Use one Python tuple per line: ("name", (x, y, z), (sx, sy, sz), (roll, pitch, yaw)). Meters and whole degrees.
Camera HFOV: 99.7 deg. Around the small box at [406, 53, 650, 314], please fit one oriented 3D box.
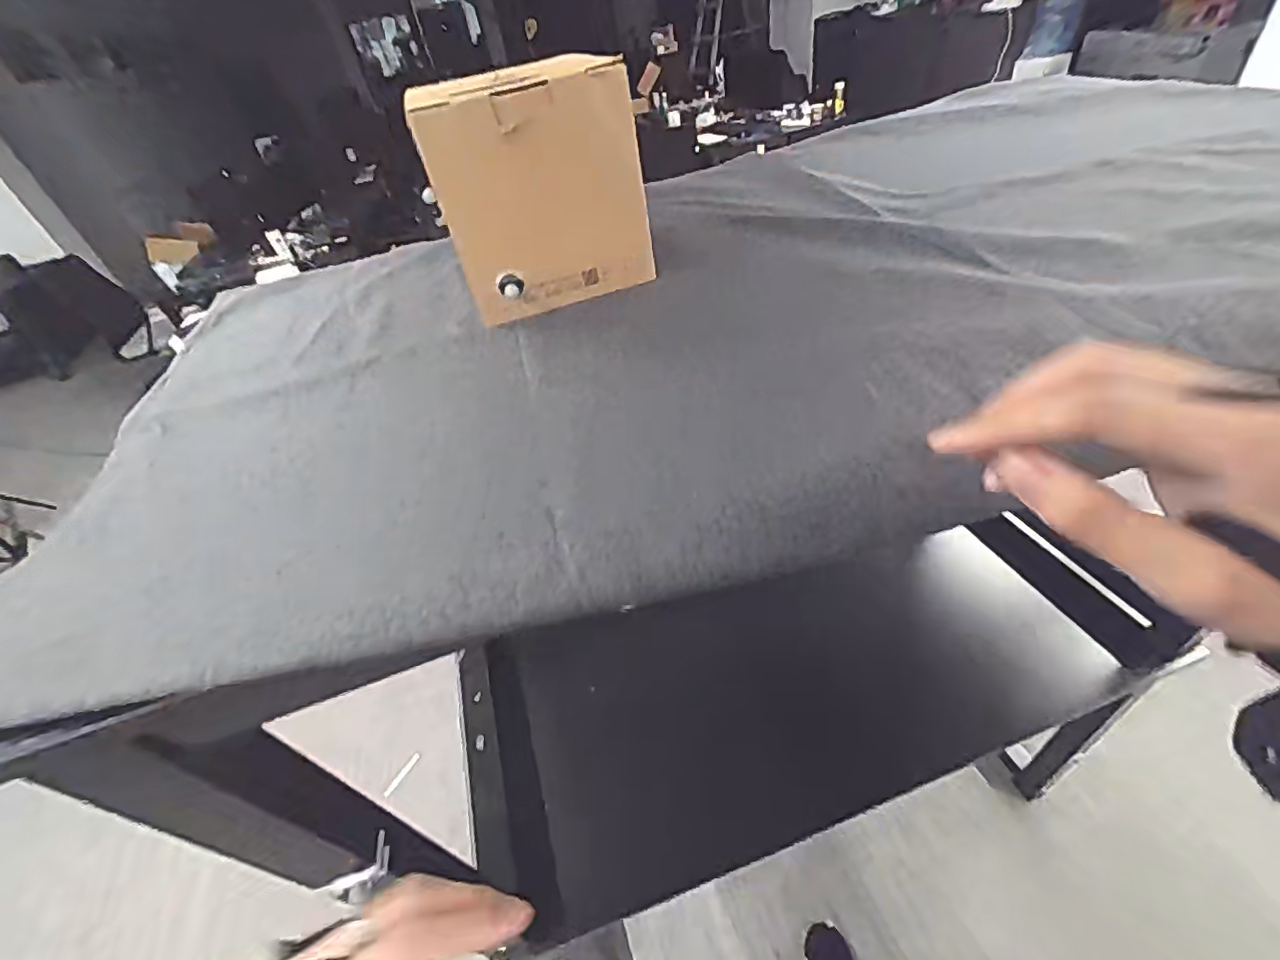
("small box", (-0.100, -0.272, 0.504), (0.168, 0.176, 0.179), (-19, 41, -7))
